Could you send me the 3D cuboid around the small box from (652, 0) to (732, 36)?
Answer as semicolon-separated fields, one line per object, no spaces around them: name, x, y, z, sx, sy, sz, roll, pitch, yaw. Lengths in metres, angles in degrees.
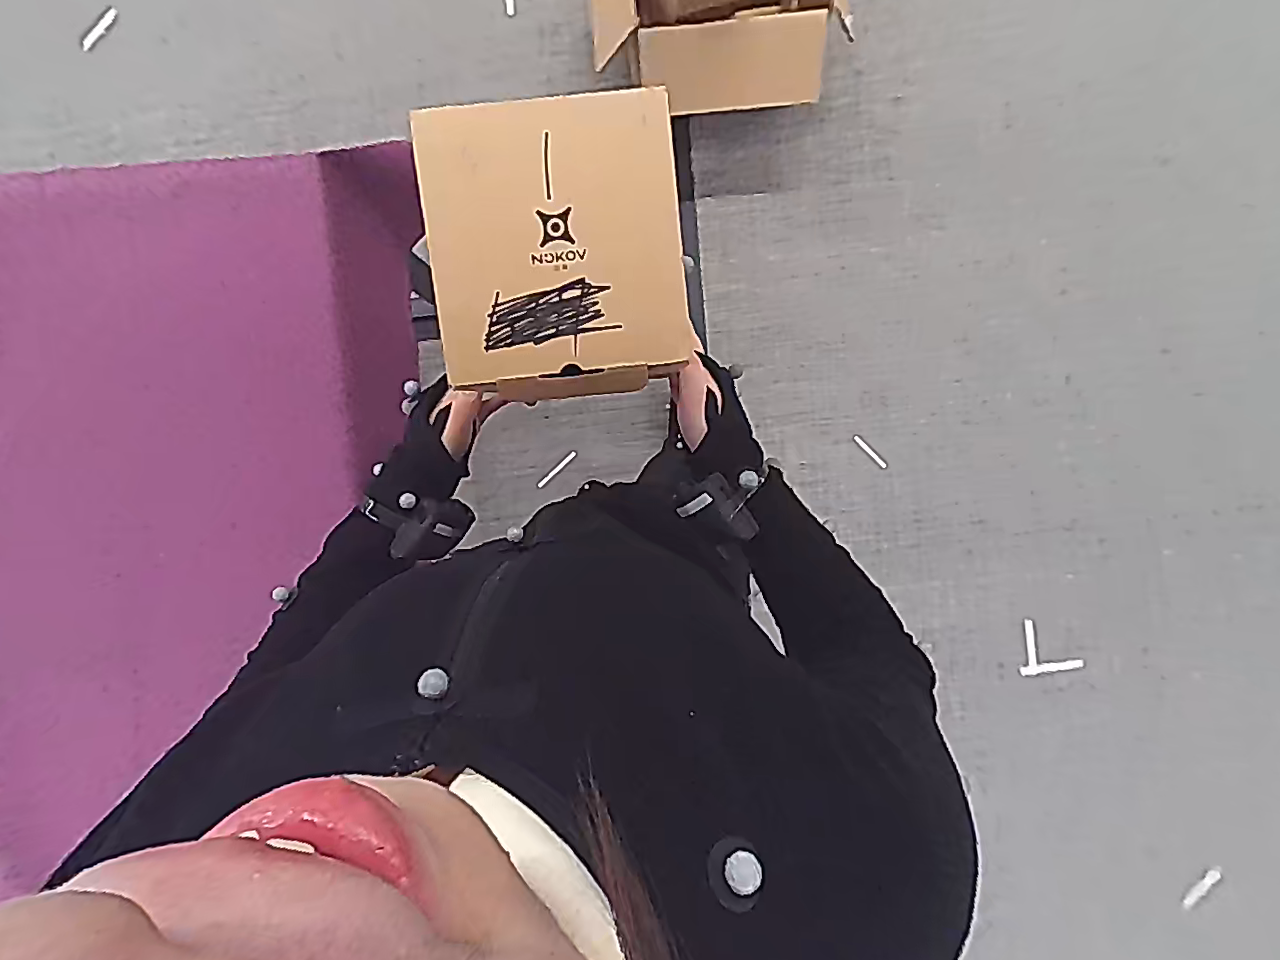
small box;0.106;-1.102;1.143;0.179;0.176;0.168;-27;97;-1

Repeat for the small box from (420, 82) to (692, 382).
small box;-0.053;-0.171;0.430;0.168;0.176;0.179;-5;98;-2
